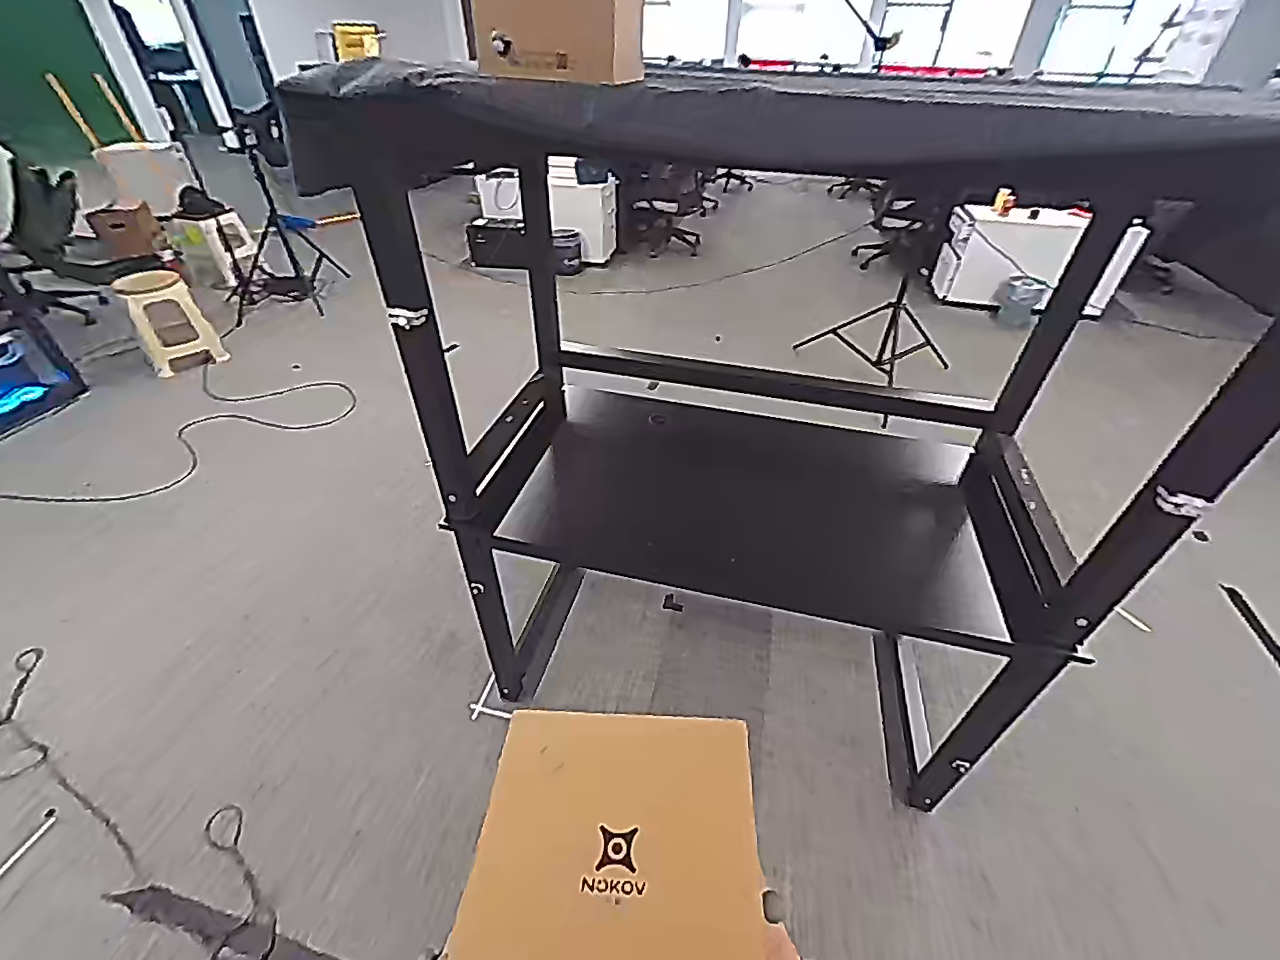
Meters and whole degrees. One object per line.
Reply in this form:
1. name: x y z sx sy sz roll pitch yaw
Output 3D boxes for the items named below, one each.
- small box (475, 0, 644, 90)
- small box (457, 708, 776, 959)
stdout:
1. small box: -0.088 -0.571 0.642 0.168 0.176 0.179 9 38 7
2. small box: -0.008 0.281 0.360 0.168 0.176 0.179 1 38 3
